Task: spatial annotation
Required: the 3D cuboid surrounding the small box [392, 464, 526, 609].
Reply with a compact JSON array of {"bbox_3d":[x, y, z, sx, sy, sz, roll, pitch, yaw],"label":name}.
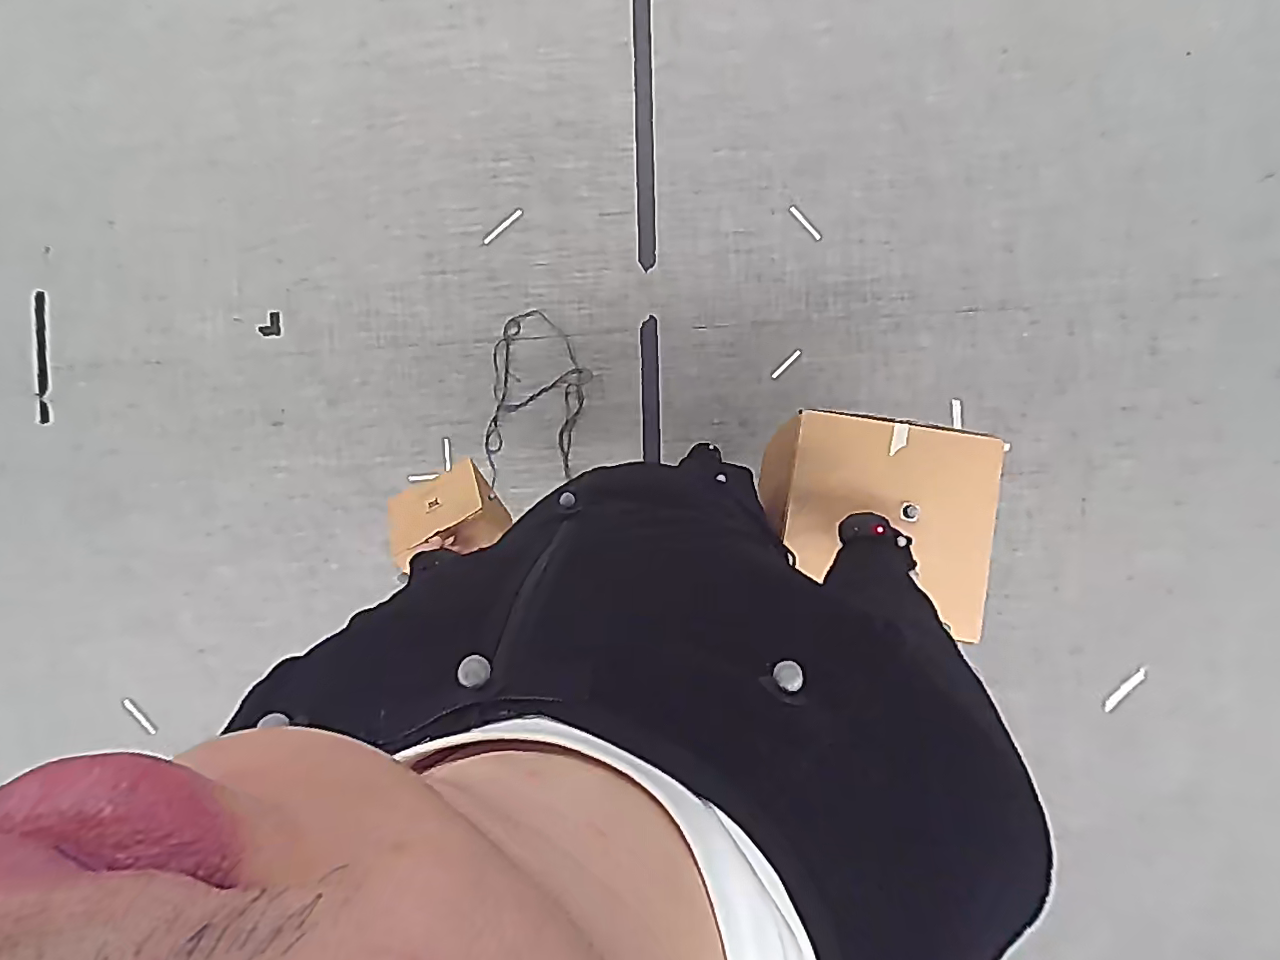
[{"bbox_3d":[-0.325,0.109,0.983,0.168,0.179,0.176,-29,127,-6],"label":"small box"}]
